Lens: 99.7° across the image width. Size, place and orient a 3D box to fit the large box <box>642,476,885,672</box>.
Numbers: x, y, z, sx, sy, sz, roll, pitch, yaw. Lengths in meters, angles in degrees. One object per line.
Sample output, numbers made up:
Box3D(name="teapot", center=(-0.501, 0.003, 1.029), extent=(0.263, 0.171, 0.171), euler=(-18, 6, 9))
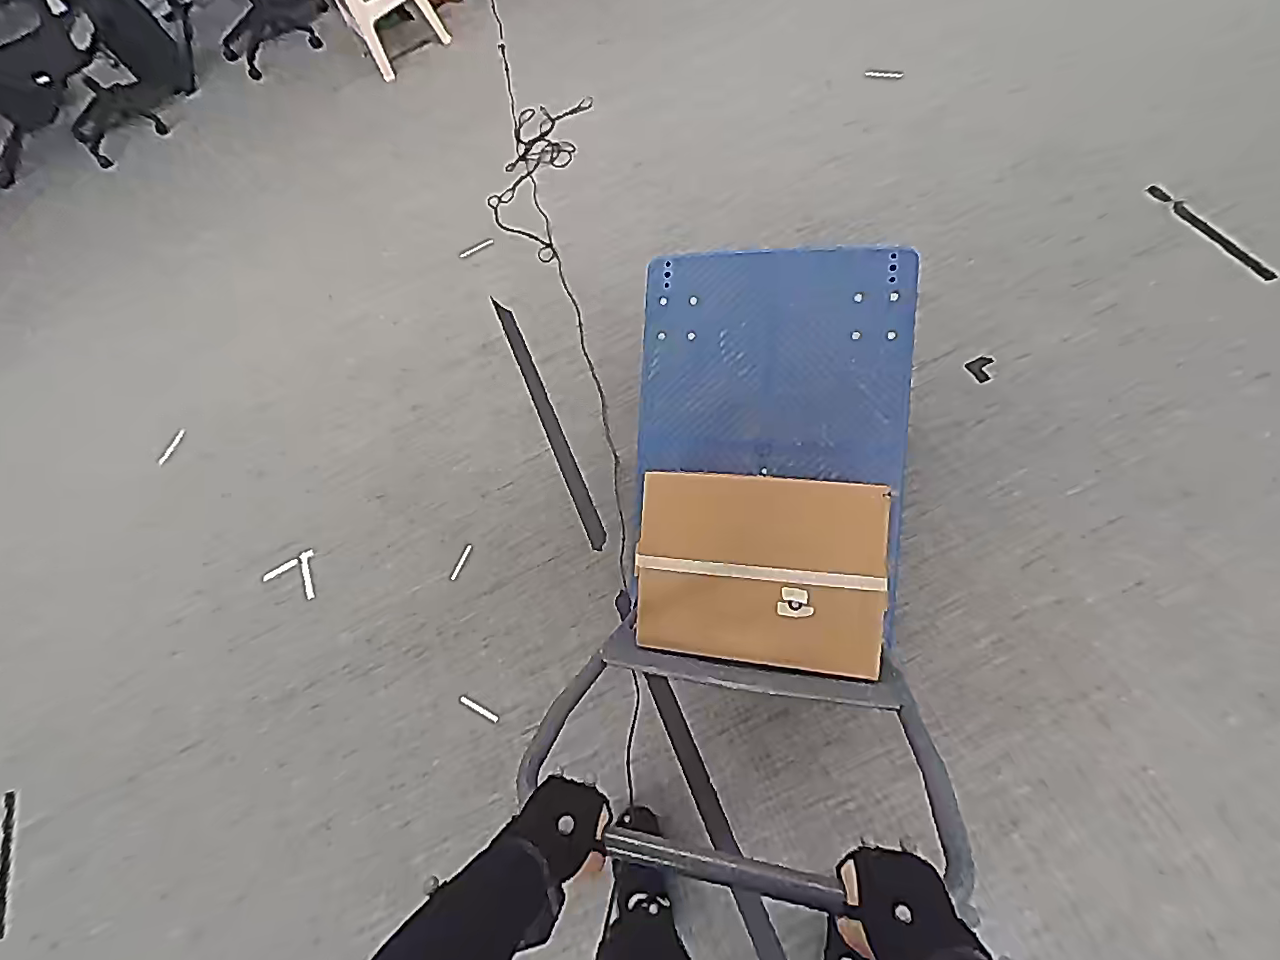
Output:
Box3D(name="large box", center=(0.233, 0.155, 1.069), extent=(0.408, 0.320, 0.320), euler=(3, 92, 14))
